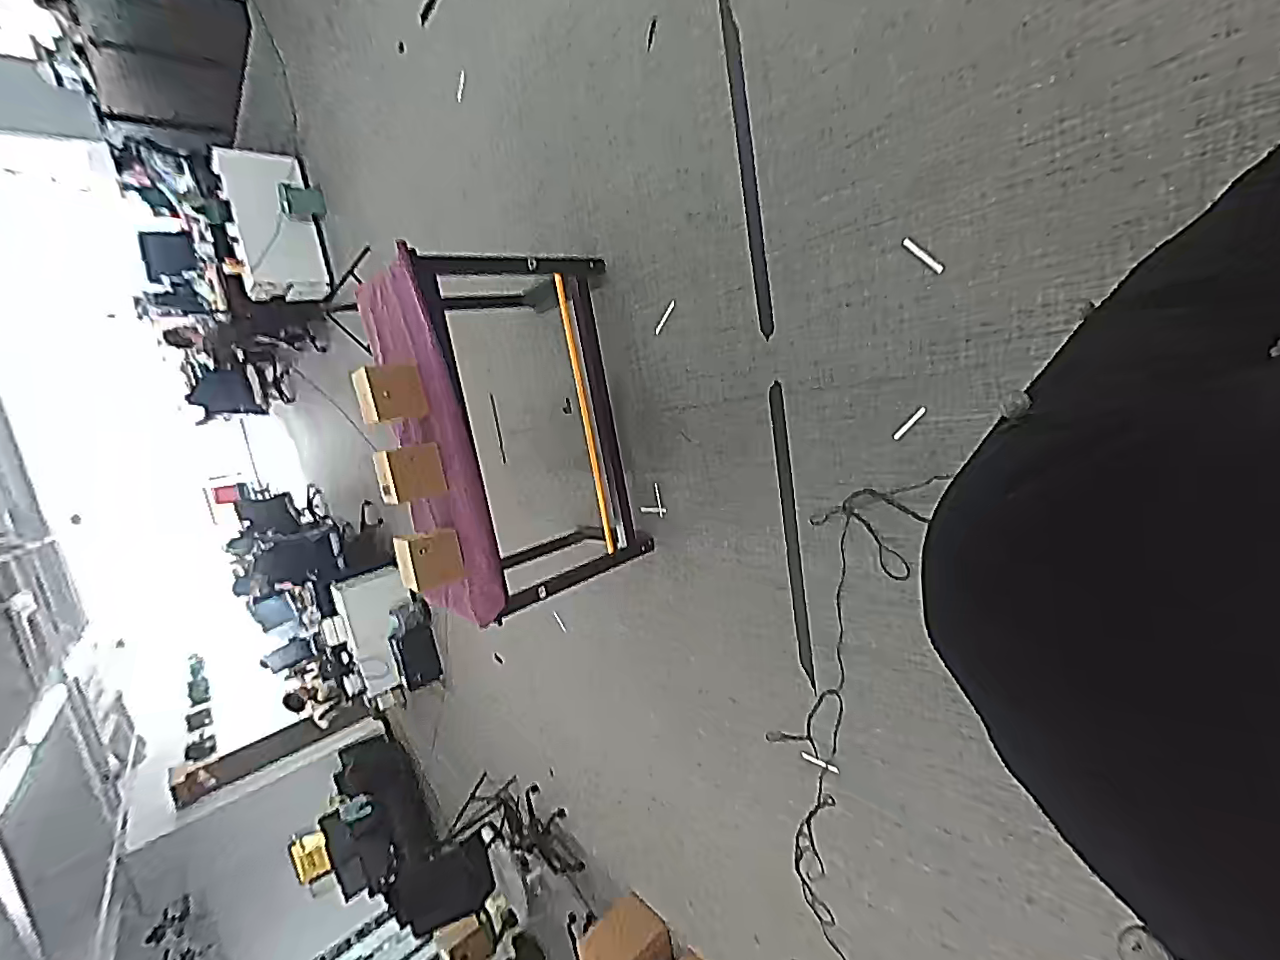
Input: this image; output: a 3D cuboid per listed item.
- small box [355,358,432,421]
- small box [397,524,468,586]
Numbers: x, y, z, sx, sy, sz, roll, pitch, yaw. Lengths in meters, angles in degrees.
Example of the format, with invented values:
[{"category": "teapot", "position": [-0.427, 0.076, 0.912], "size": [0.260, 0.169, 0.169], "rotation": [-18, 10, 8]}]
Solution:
[{"category": "small box", "position": [-0.812, -0.301, 1.786], "size": [0.168, 0.176, 0.179], "rotation": [-2, 103, 50]}, {"category": "small box", "position": [-0.721, 0.253, 1.881], "size": [0.168, 0.176, 0.179], "rotation": [-3, 99, 51]}]
